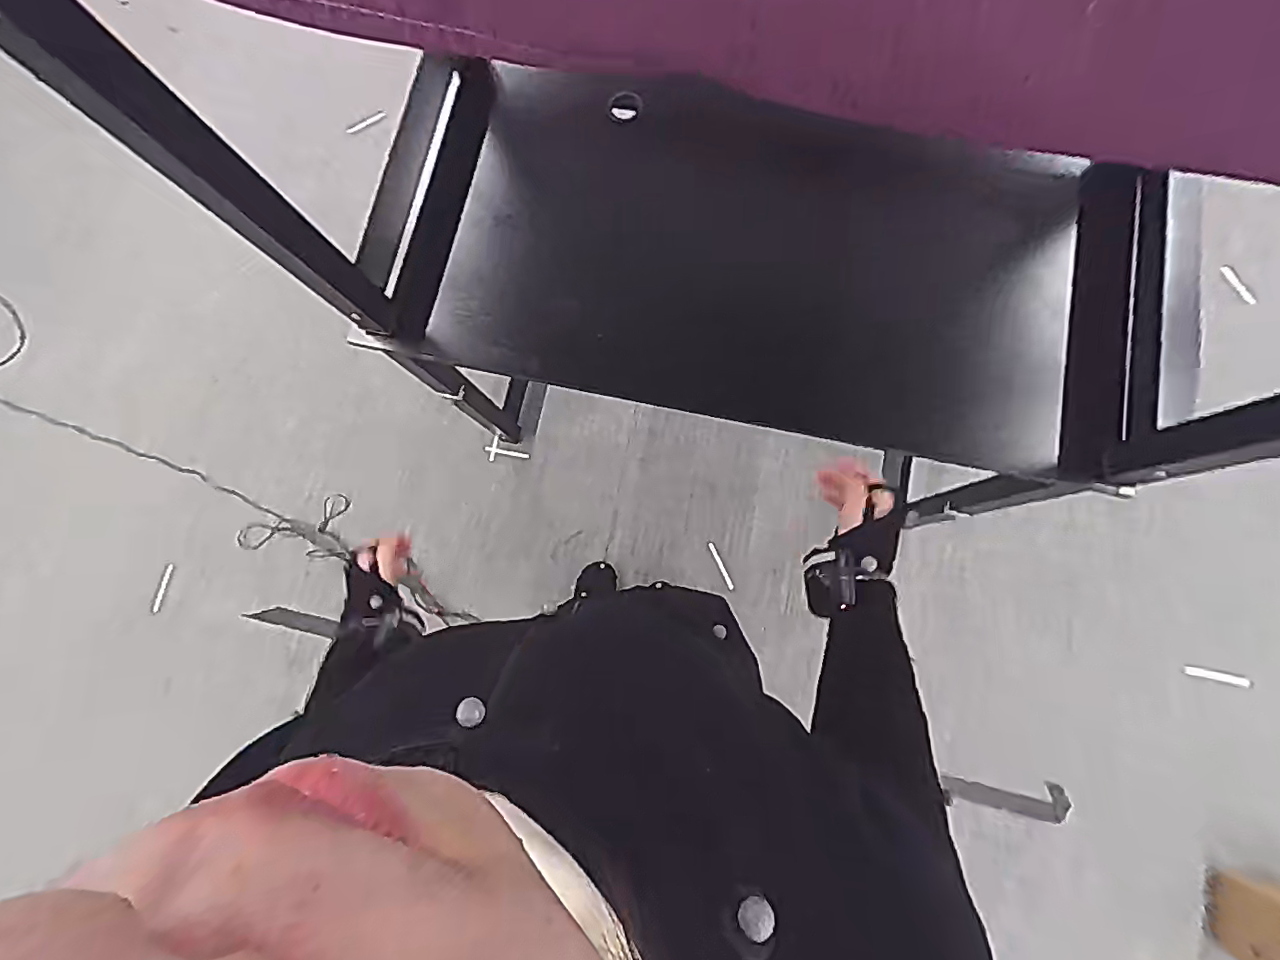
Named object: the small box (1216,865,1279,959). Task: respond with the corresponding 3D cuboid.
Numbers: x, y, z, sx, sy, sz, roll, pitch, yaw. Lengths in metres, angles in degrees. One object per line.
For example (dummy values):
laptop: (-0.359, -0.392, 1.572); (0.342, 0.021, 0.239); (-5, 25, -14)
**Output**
small box: (1.444, 1.007, 1.198); (0.168, 0.176, 0.179); (10, 82, 5)
